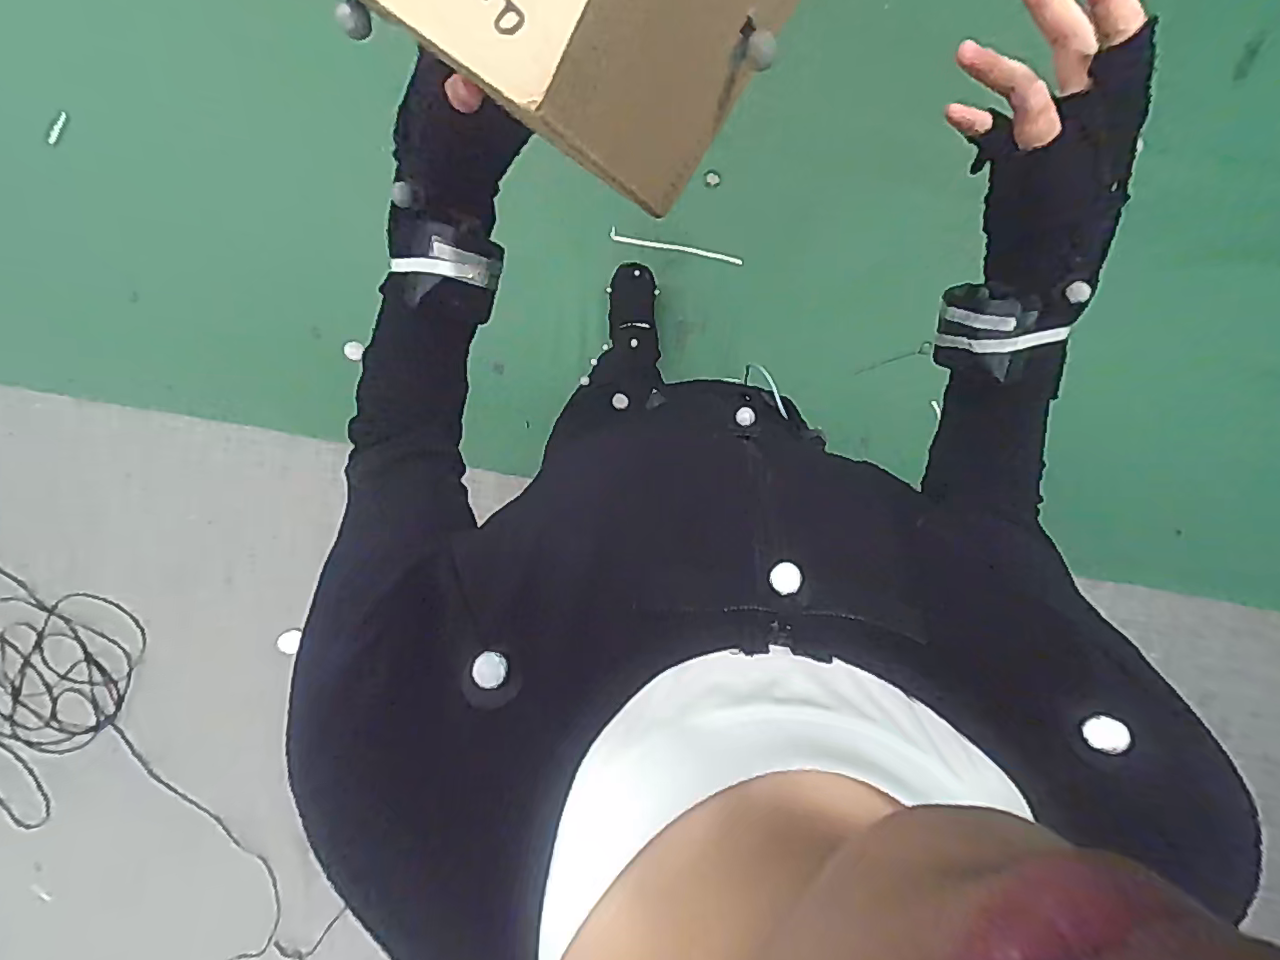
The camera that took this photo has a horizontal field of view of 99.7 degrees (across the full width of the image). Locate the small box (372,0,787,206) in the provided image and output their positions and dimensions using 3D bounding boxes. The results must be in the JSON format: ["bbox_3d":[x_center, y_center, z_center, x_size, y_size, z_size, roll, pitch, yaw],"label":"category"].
[{"bbox_3d":[-0.029,-0.253,0.223,0.168,0.176,0.179,39,111,6],"label":"small box"}]
